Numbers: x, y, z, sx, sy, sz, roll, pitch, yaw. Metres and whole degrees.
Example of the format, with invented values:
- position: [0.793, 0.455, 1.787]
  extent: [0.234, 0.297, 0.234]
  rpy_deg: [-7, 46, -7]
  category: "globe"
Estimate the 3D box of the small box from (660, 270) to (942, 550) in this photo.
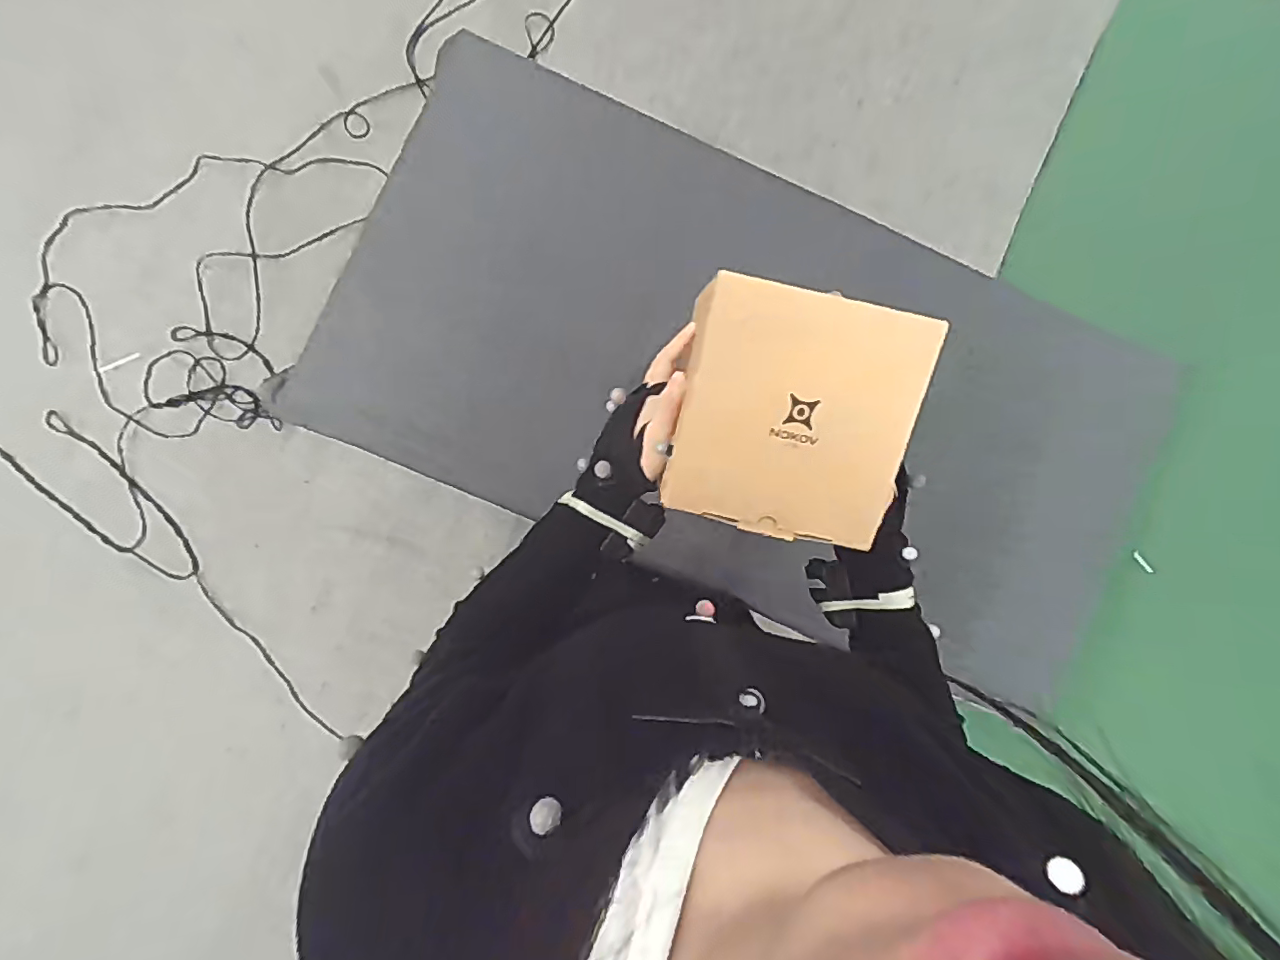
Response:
- position: [0.113, -0.064, 0.465]
  extent: [0.168, 0.176, 0.179]
  rpy_deg: [11, 105, -2]
  category: "small box"
